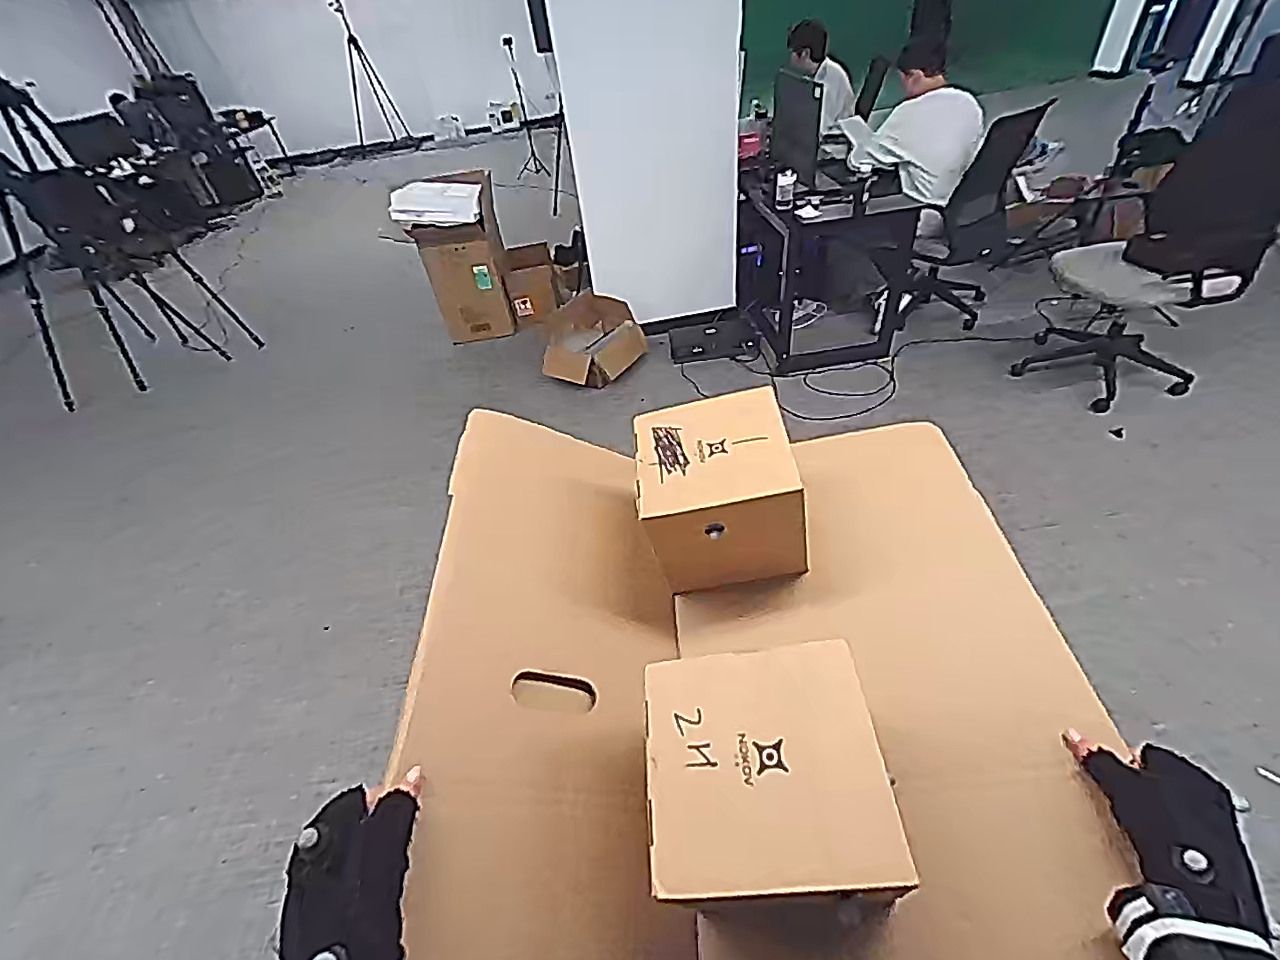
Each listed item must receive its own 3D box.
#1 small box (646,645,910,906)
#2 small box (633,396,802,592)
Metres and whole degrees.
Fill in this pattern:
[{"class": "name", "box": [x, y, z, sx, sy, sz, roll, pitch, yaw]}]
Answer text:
[{"class": "small box", "box": [0.111, 0.264, 0.474, 0.179, 0.176, 0.168, -11, 48, 11]}, {"class": "small box", "box": [0.098, 0.025, 0.684, 0.179, 0.176, 0.168, -12, 48, 9]}]
